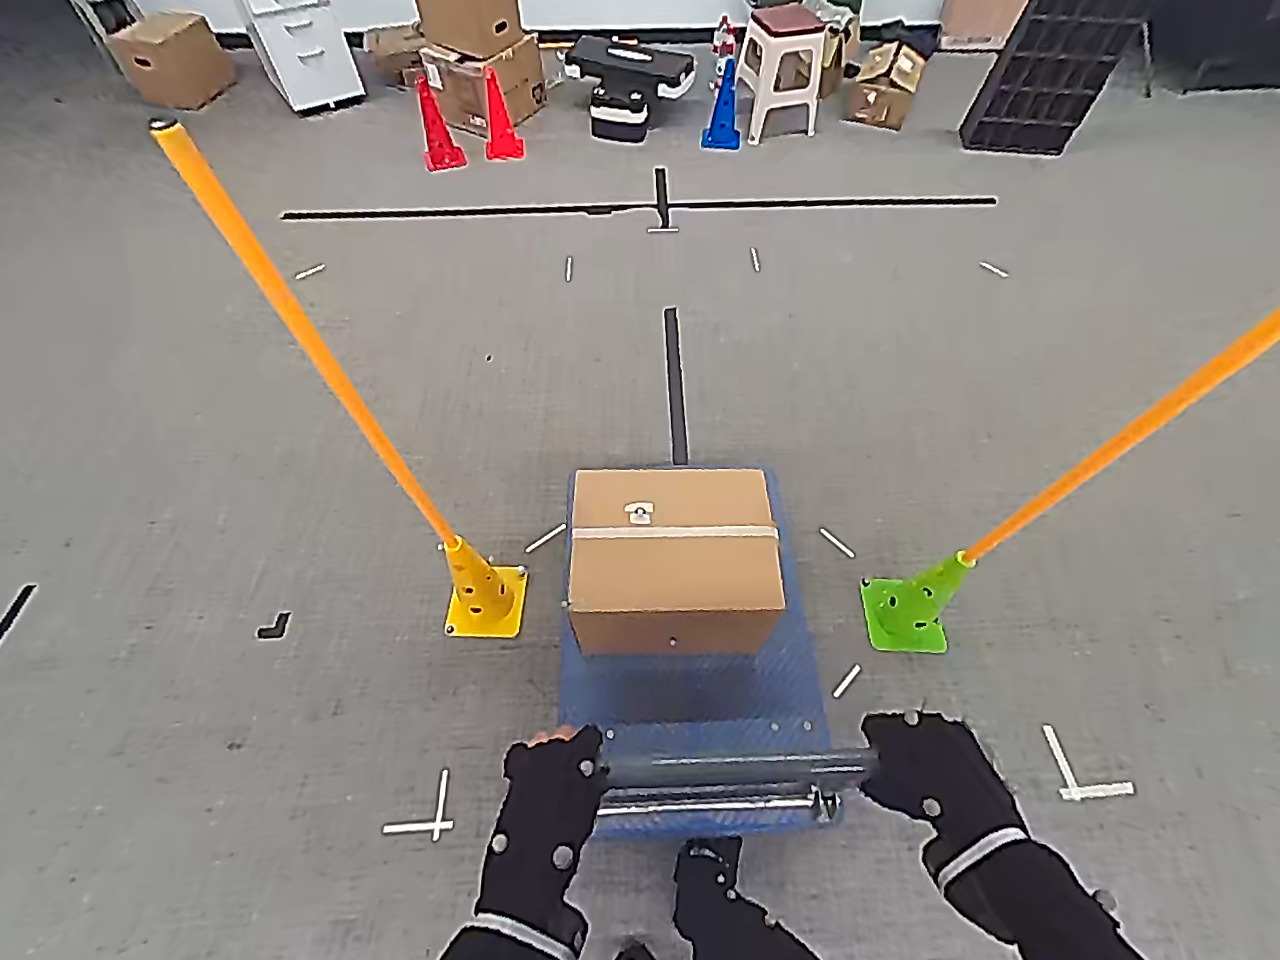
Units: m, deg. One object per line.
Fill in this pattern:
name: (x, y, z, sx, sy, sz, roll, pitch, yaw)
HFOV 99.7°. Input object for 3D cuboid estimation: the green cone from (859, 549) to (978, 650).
green cone: (0.715, 0.269, 1.337, 0.202, 0.368, 0.200, 2, 57, 0)

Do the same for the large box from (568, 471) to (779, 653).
large box: (0.064, 0.195, 1.215, 0.408, 0.320, 0.320, -1, 57, 0)
